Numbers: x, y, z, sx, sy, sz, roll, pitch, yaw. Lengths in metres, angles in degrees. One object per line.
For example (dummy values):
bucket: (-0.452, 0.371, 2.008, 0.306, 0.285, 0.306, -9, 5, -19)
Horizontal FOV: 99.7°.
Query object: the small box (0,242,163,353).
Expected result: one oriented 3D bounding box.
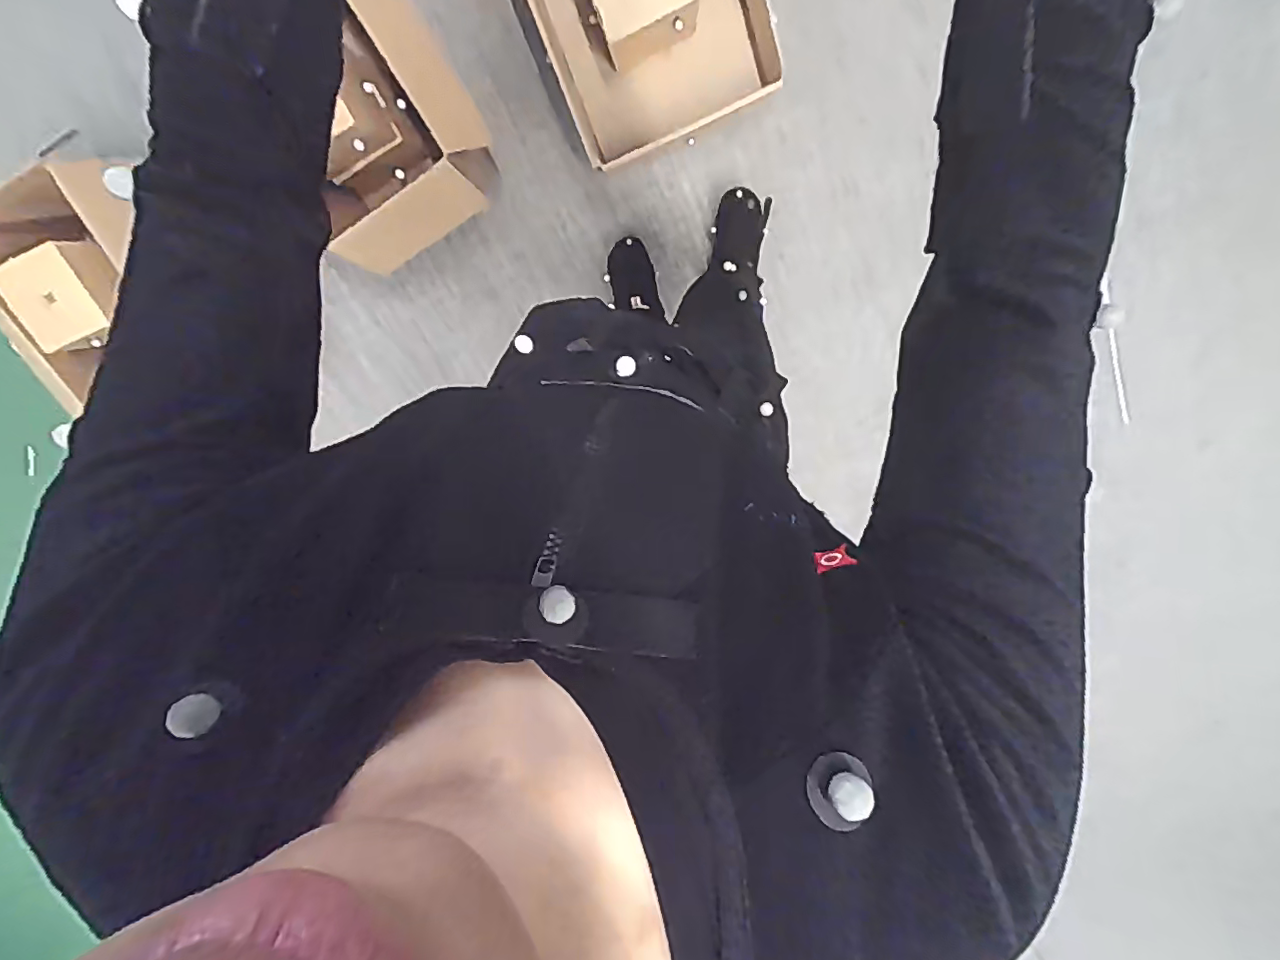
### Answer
small box: (-1.162, -0.386, 1.130, 0.179, 0.176, 0.168, -19, 111, 9)
